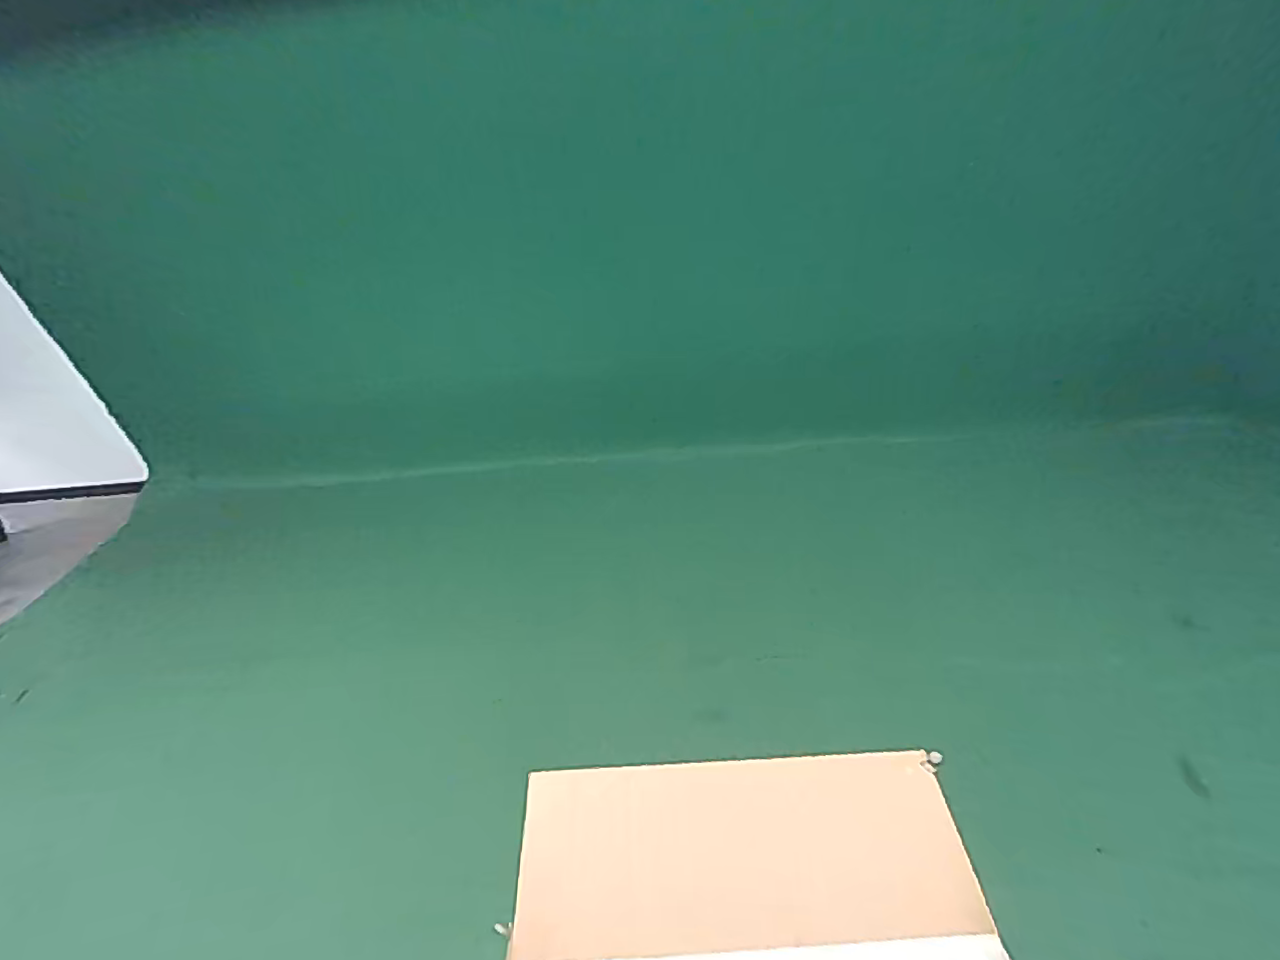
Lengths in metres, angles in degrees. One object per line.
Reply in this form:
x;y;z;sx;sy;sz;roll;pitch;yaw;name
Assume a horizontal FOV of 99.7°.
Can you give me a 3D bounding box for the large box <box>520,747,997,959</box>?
0.098;0.504;0.553;0.408;0.320;0.320;-3;45;-1;large box
